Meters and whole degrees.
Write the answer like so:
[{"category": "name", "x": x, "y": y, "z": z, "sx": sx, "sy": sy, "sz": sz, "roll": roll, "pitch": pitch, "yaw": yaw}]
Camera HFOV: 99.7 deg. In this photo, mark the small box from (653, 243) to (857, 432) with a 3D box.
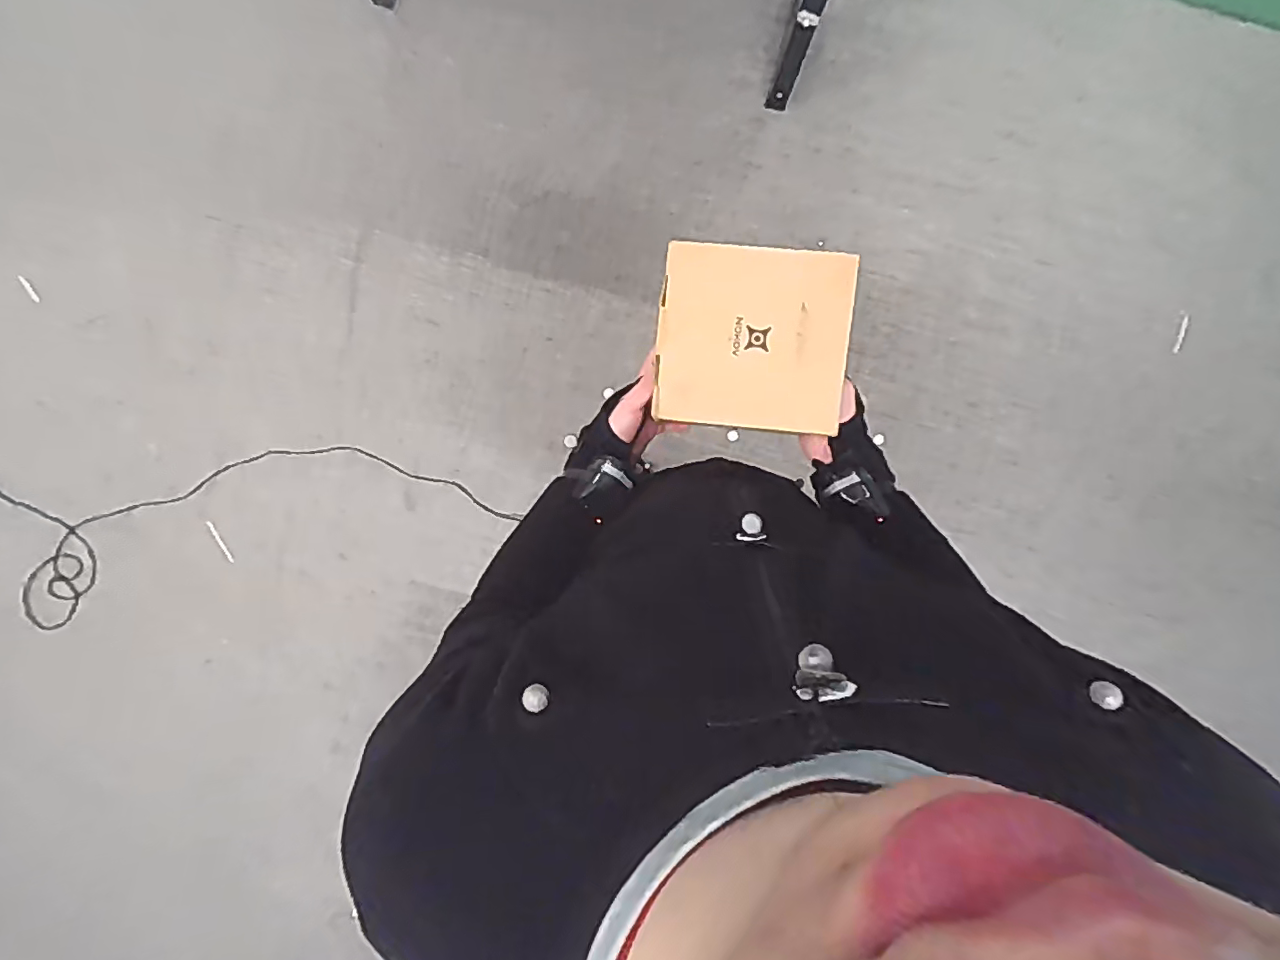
[{"category": "small box", "x": 0.110, "y": -0.140, "z": 0.582, "sx": 0.179, "sy": 0.176, "sz": 0.168, "roll": 5, "pitch": 96, "yaw": 2}]
